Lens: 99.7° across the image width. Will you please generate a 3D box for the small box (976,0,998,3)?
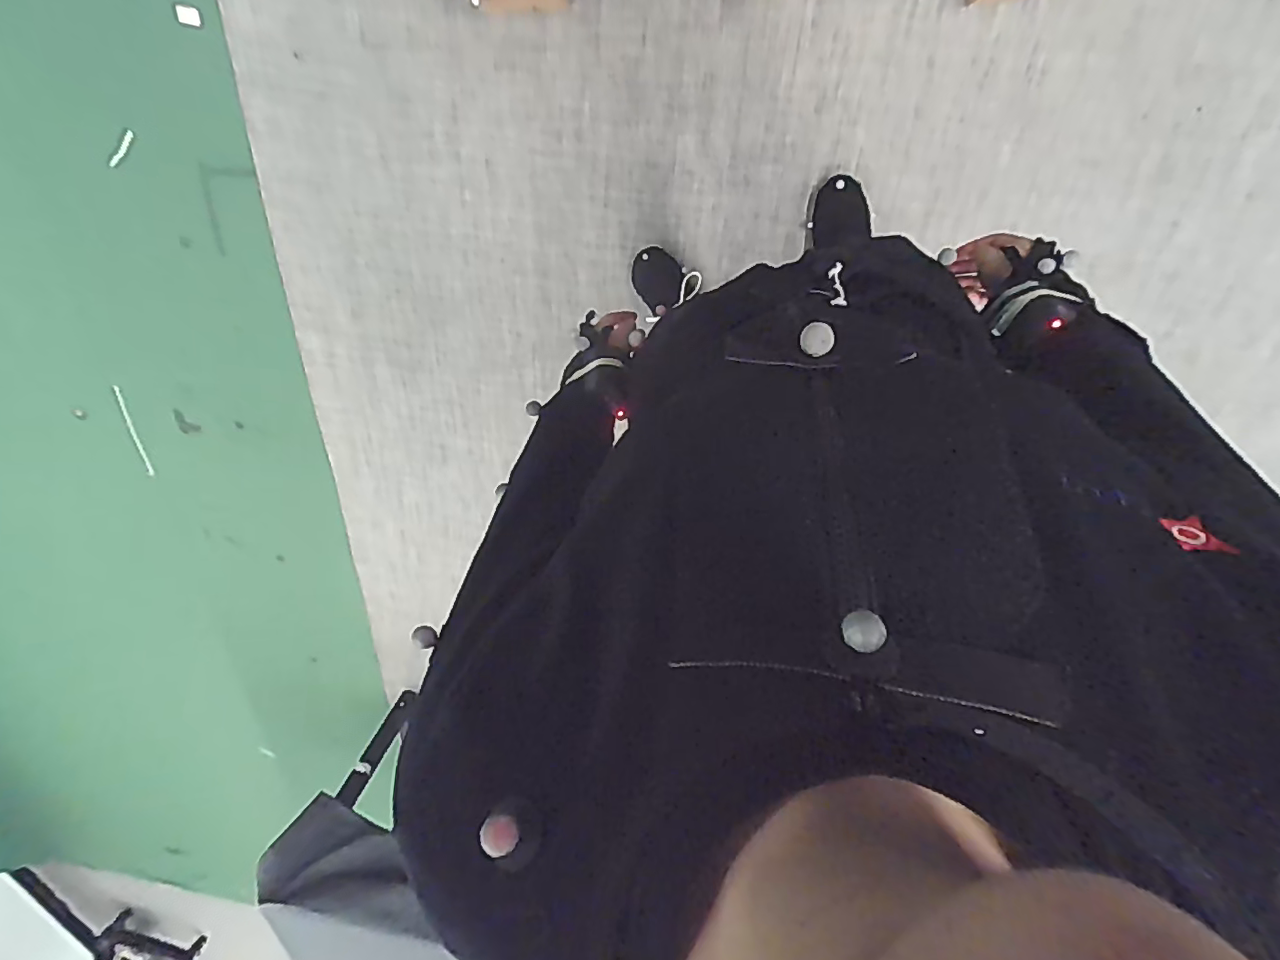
[{"bbox_3d":[0.617,-0.859,0.814,0.168,0.176,0.179,-5,116,11],"label":"small box"}]
